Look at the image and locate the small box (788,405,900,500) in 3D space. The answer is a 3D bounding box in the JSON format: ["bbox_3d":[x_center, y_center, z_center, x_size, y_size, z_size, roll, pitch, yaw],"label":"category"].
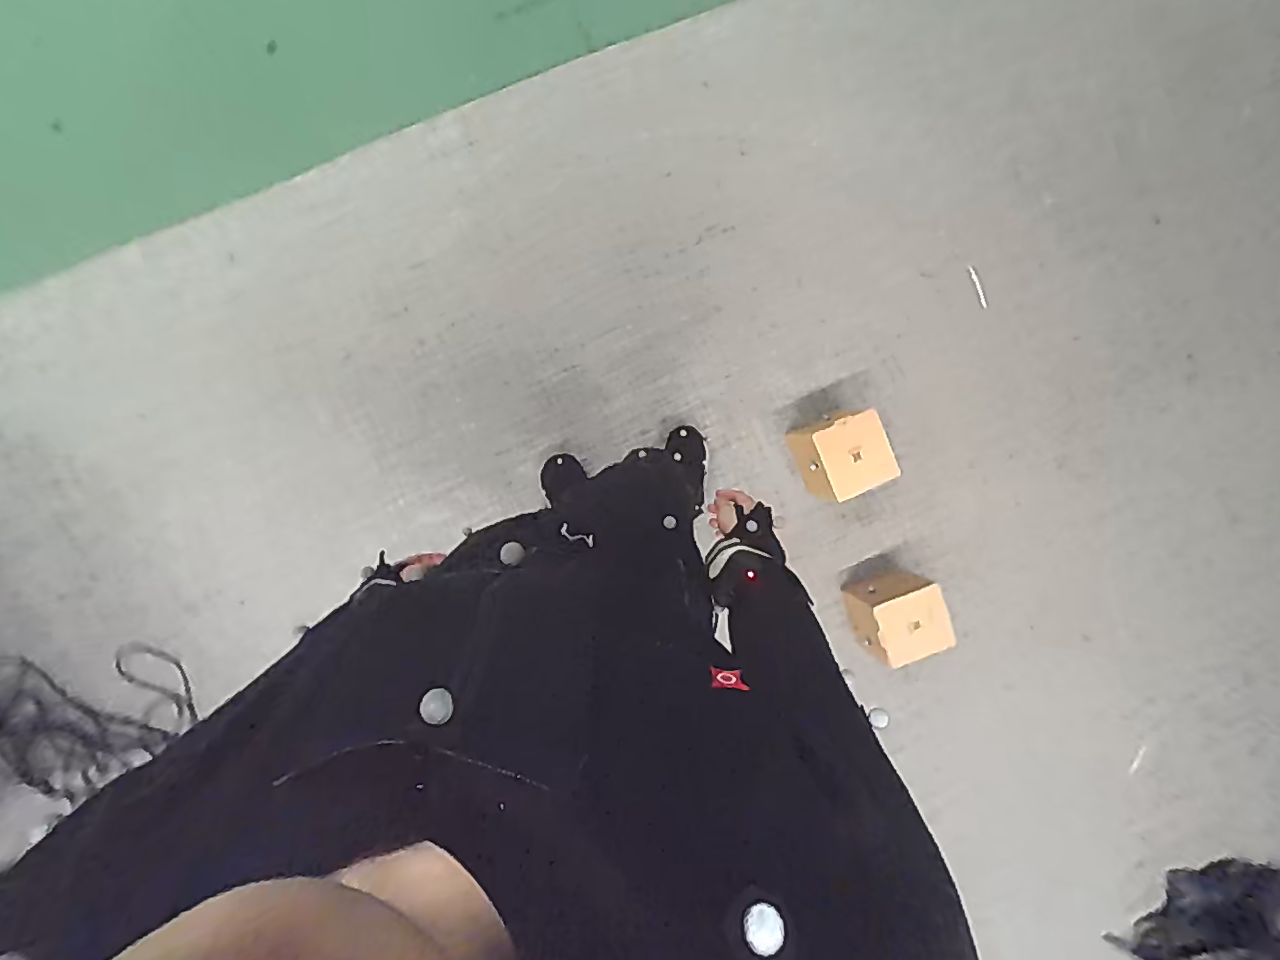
[{"bbox_3d":[0.487,-0.070,1.313,0.168,0.176,0.179,-24,96,-3],"label":"small box"}]

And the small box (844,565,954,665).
[{"bbox_3d":[0.638,0.331,1.357,0.179,0.176,0.168,-20,97,-5],"label":"small box"}]
